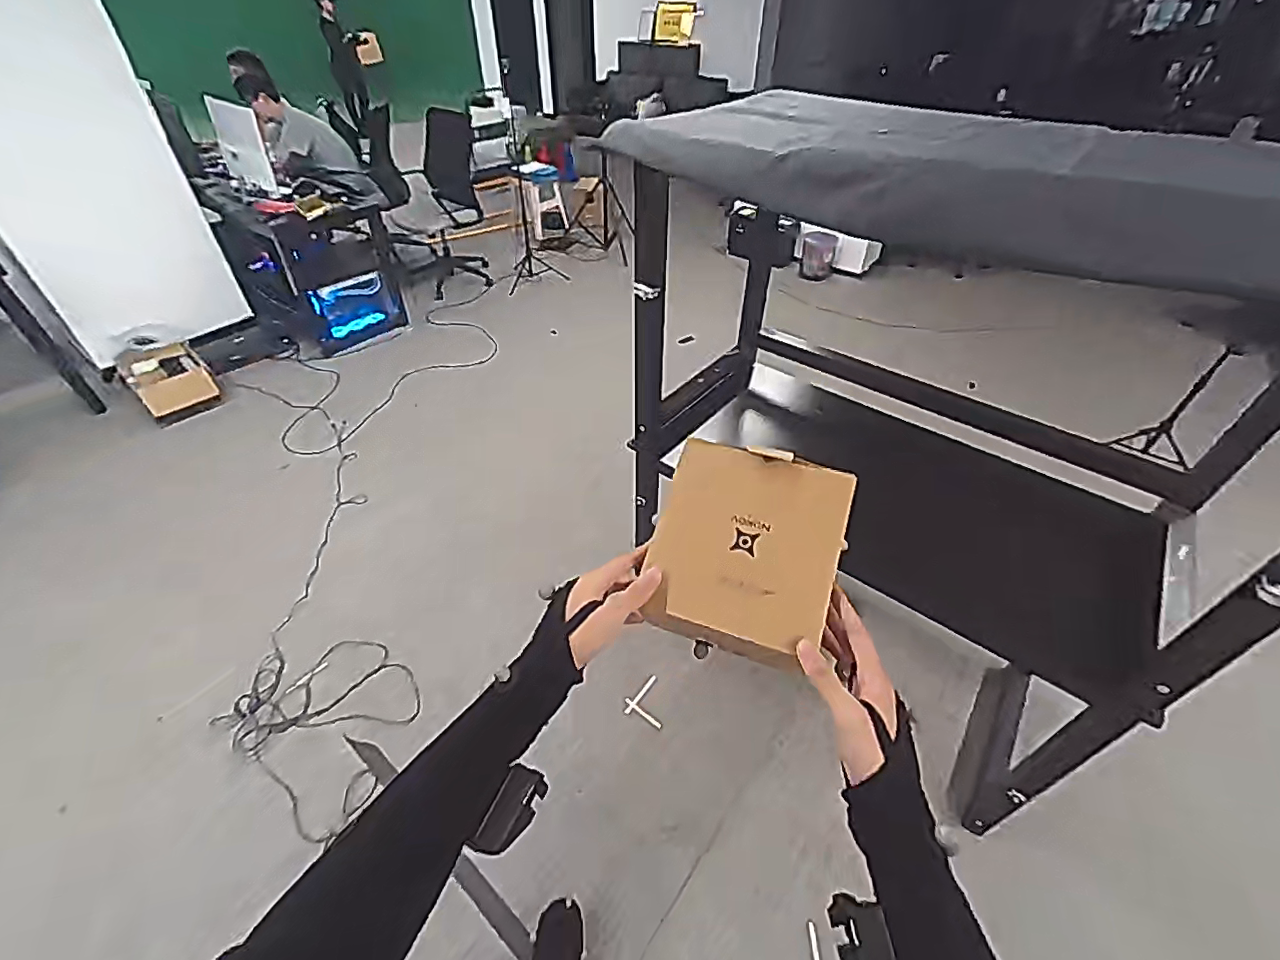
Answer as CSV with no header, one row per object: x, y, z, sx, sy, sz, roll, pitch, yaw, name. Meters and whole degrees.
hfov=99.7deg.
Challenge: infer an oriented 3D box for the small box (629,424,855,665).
0.102,0.073,0.556,0.168,0.176,0.179,16,69,14,small box
